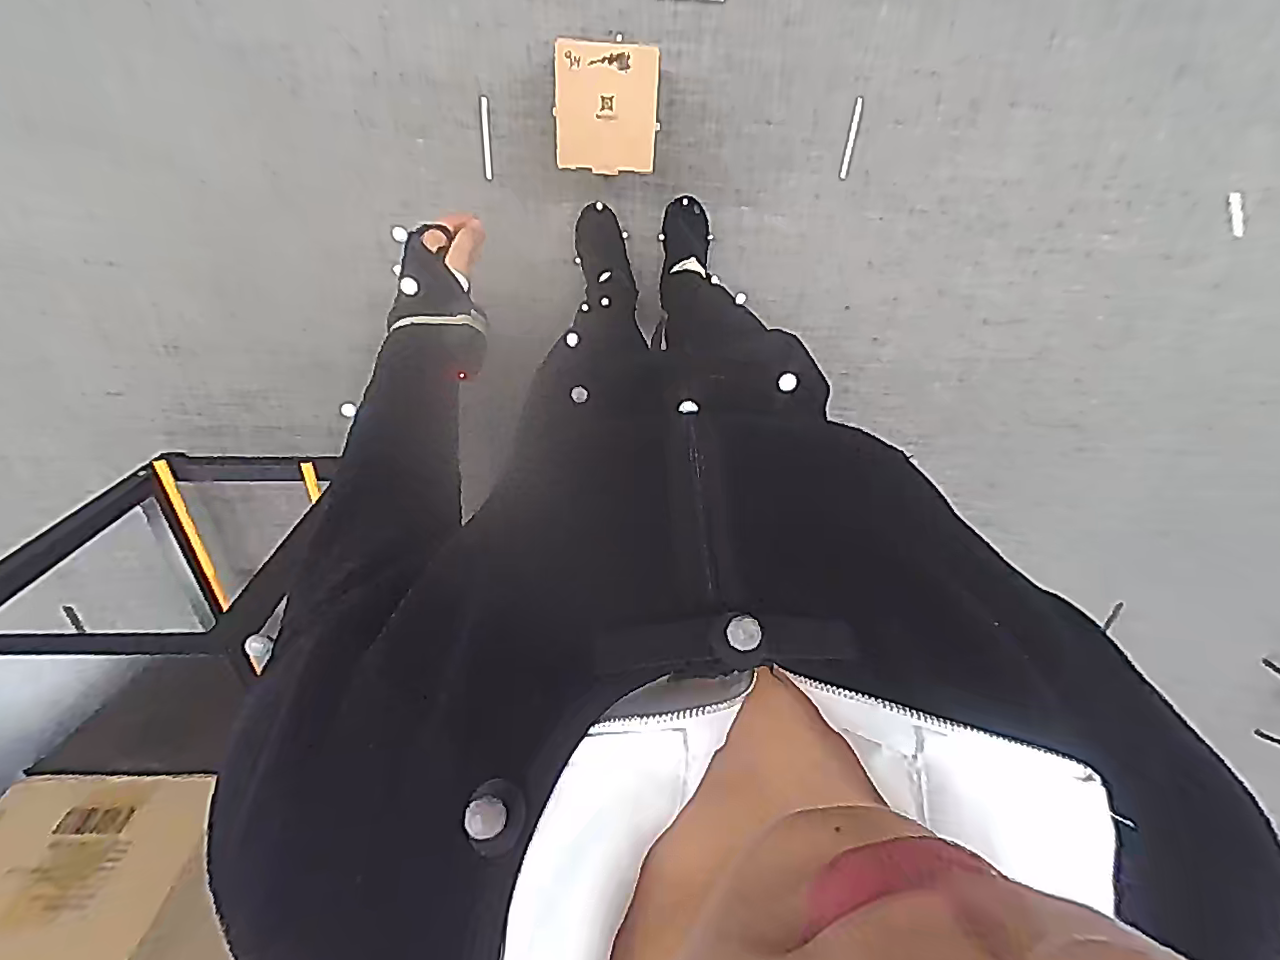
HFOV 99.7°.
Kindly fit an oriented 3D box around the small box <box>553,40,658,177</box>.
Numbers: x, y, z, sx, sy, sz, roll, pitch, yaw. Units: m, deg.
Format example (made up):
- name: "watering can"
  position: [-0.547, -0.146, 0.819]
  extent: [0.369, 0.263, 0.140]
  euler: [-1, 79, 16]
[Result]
- name: "small box"
  position: [-0.060, -0.641, 0.945]
  extent: [0.168, 0.176, 0.179]
  euler: [2, 122, -4]
